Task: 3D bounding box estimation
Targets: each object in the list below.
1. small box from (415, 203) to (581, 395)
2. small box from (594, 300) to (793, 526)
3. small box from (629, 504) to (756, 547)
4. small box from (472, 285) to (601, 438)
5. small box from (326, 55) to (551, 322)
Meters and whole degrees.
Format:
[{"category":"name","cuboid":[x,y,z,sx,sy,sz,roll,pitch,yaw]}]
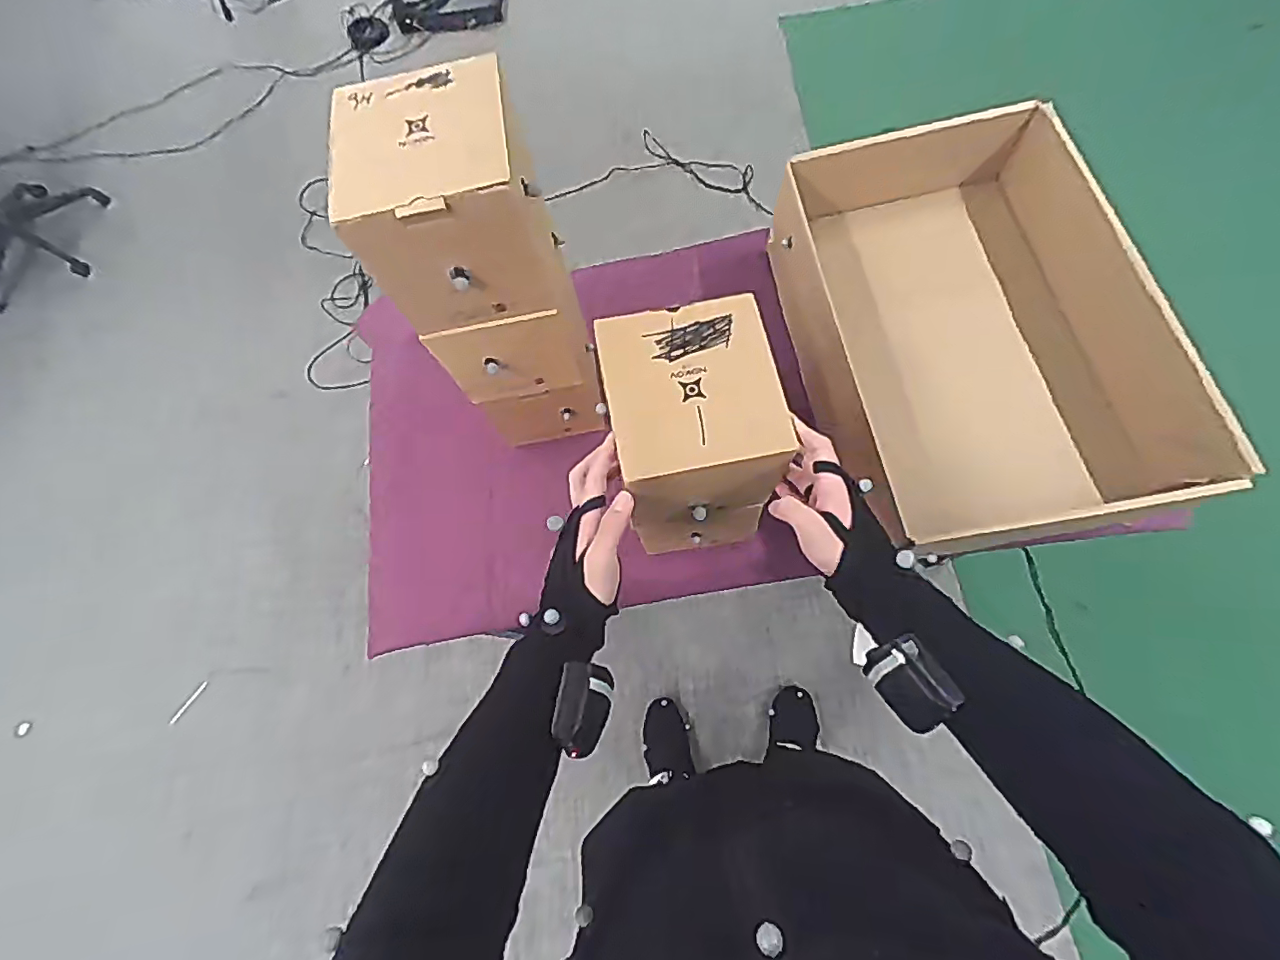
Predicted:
[{"category":"small box","cuboid":[-0.181,-0.228,0.720,0.168,0.176,0.179,-10,70,2]},{"category":"small box","cuboid":[0.049,-0.064,0.594,0.168,0.176,0.179,-11,71,-1]},{"category":"small box","cuboid":[0.067,-0.007,0.783,0.168,0.176,0.179,-9,70,3]},{"category":"small box","cuboid":[-0.164,-0.180,0.874,0.168,0.176,0.179,-10,70,2]},{"category":"small box","cuboid":[-0.197,-0.286,0.567,0.168,0.176,0.179,-11,71,2]}]
